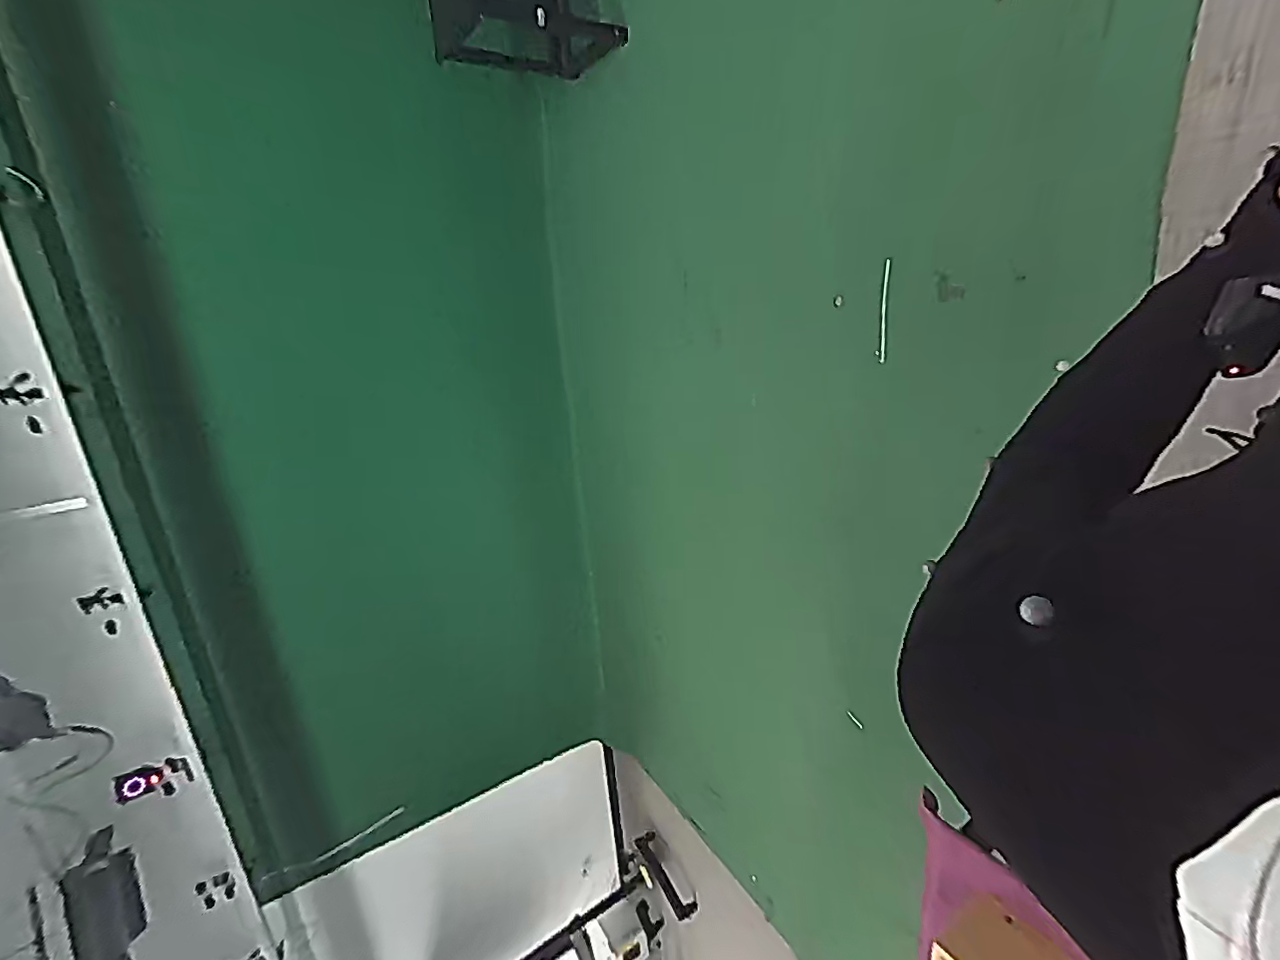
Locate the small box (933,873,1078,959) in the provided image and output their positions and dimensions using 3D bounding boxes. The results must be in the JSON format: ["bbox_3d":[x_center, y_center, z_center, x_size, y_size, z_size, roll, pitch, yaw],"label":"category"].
[{"bbox_3d":[0.670,0.894,0.998,0.168,0.176,0.179,22,121,54],"label":"small box"}]
